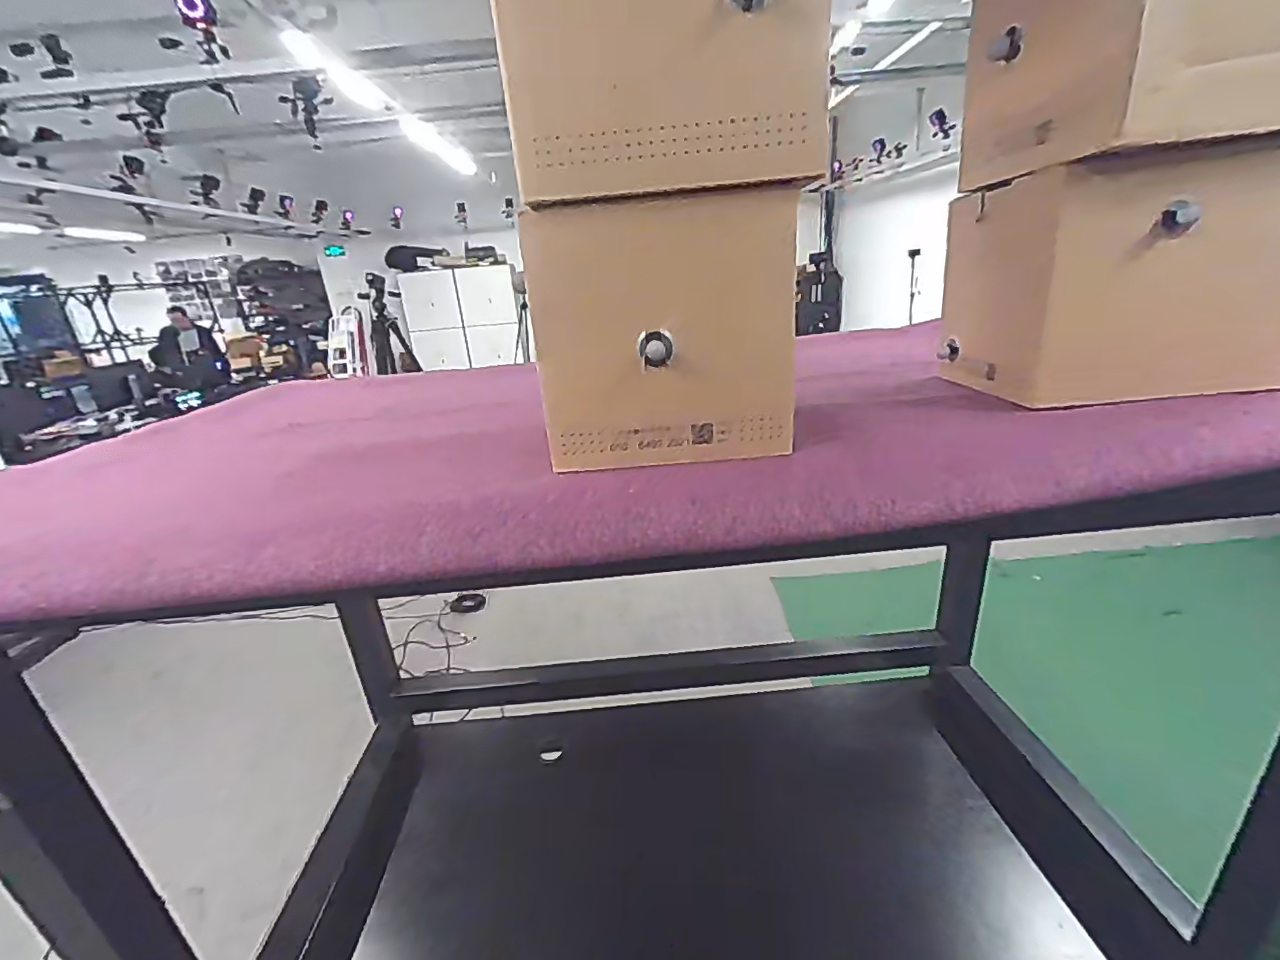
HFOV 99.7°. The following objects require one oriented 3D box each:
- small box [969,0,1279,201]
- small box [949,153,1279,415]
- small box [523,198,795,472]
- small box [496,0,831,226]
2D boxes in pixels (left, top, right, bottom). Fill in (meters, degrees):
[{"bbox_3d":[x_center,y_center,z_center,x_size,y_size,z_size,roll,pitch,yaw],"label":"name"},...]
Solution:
[{"bbox_3d":[0.360,-0.301,0.379,0.179,0.176,0.168,-5,19,2],"label":"small box"},{"bbox_3d":[0.379,-0.154,0.447,0.179,0.176,0.168,-4,19,6],"label":"small box"},{"bbox_3d":[0.019,-0.108,0.421,0.168,0.176,0.179,-4,21,2],"label":"small box"},{"bbox_3d":[0.016,-0.256,0.352,0.179,0.176,0.168,-5,20,2],"label":"small box"}]
